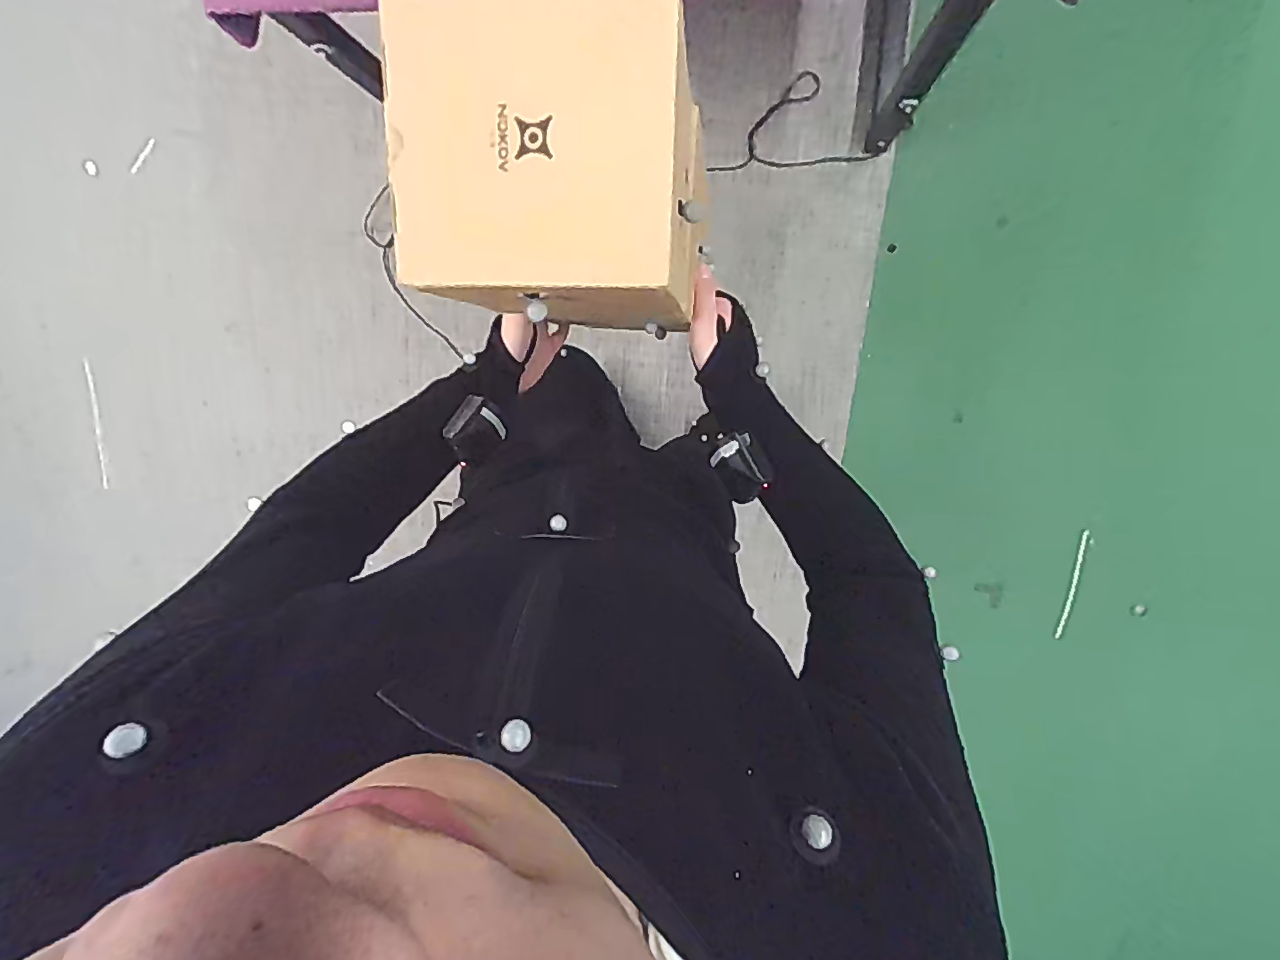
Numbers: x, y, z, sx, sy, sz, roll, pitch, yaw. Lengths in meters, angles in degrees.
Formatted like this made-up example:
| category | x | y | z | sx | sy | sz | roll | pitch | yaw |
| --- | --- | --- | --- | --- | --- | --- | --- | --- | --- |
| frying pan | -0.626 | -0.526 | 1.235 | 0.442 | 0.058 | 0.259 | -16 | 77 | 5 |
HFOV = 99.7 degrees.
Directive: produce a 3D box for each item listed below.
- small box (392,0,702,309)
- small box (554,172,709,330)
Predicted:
| category | x | y | z | sx | sy | sz | roll | pitch | yaw |
| --- | --- | --- | --- | --- | --- | --- | --- | --- | --- |
| small box | -0.046 | -0.218 | 0.390 | 0.179 | 0.176 | 0.168 | 3 | 103 | 8 |
| small box | -0.003 | -0.289 | 0.706 | 0.179 | 0.176 | 0.168 | 5 | 102 | 8 |
